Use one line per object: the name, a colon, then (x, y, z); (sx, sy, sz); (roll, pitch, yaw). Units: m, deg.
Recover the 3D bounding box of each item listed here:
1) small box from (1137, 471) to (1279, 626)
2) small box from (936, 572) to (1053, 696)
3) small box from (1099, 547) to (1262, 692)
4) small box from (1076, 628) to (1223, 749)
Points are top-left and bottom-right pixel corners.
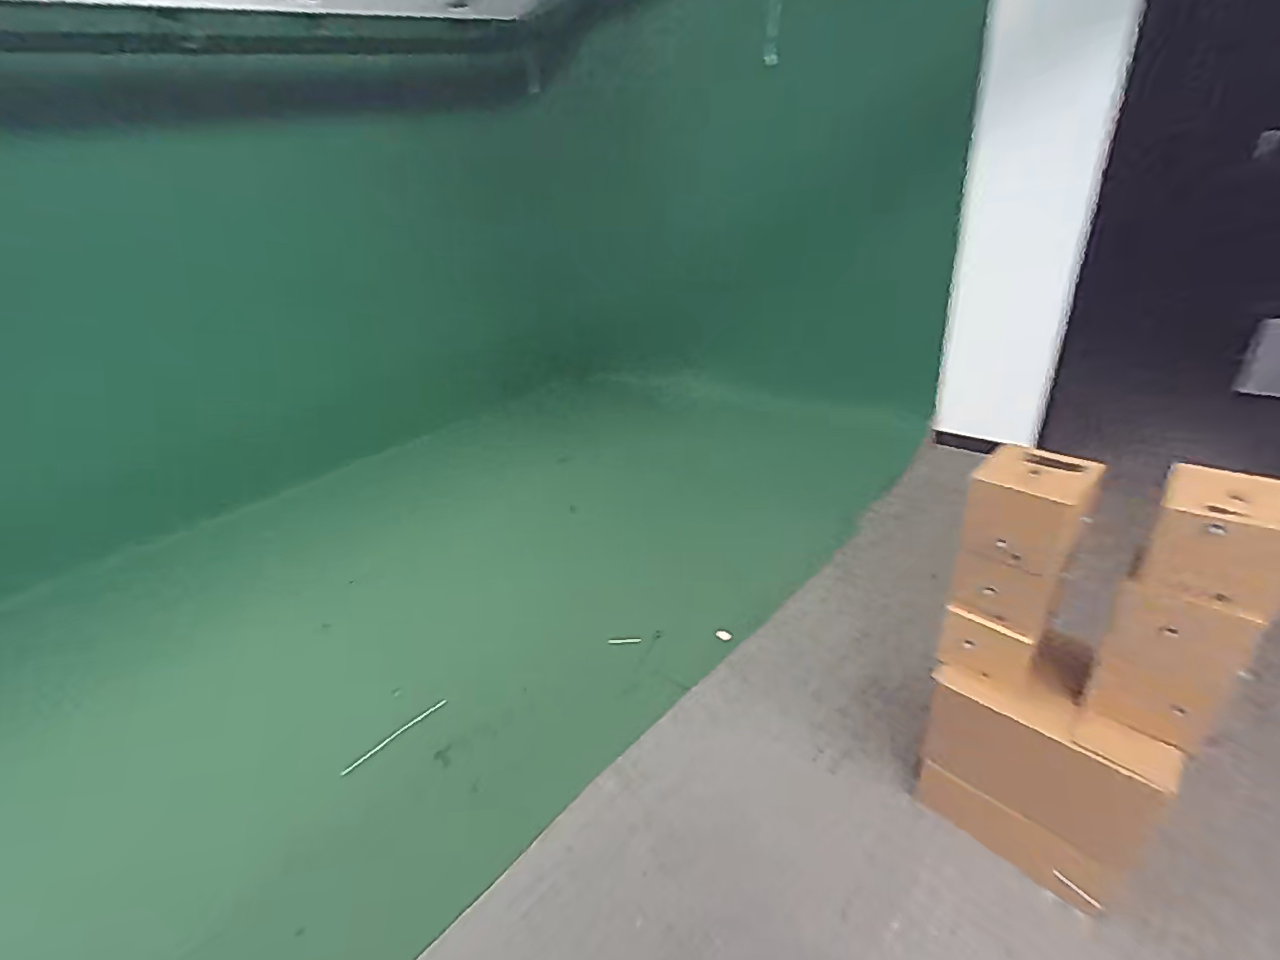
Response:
small box: (0.985, 0.111, 0.918); (0.168, 0.176, 0.179); (19, 38, 41)
small box: (0.792, 0.346, 1.222); (0.179, 0.176, 0.168); (-30, 37, -33)
small box: (0.992, 0.257, 0.996); (0.168, 0.176, 0.179); (-30, 34, -34)
small box: (1.013, 0.398, 1.077); (0.168, 0.176, 0.179); (-31, 35, -35)
